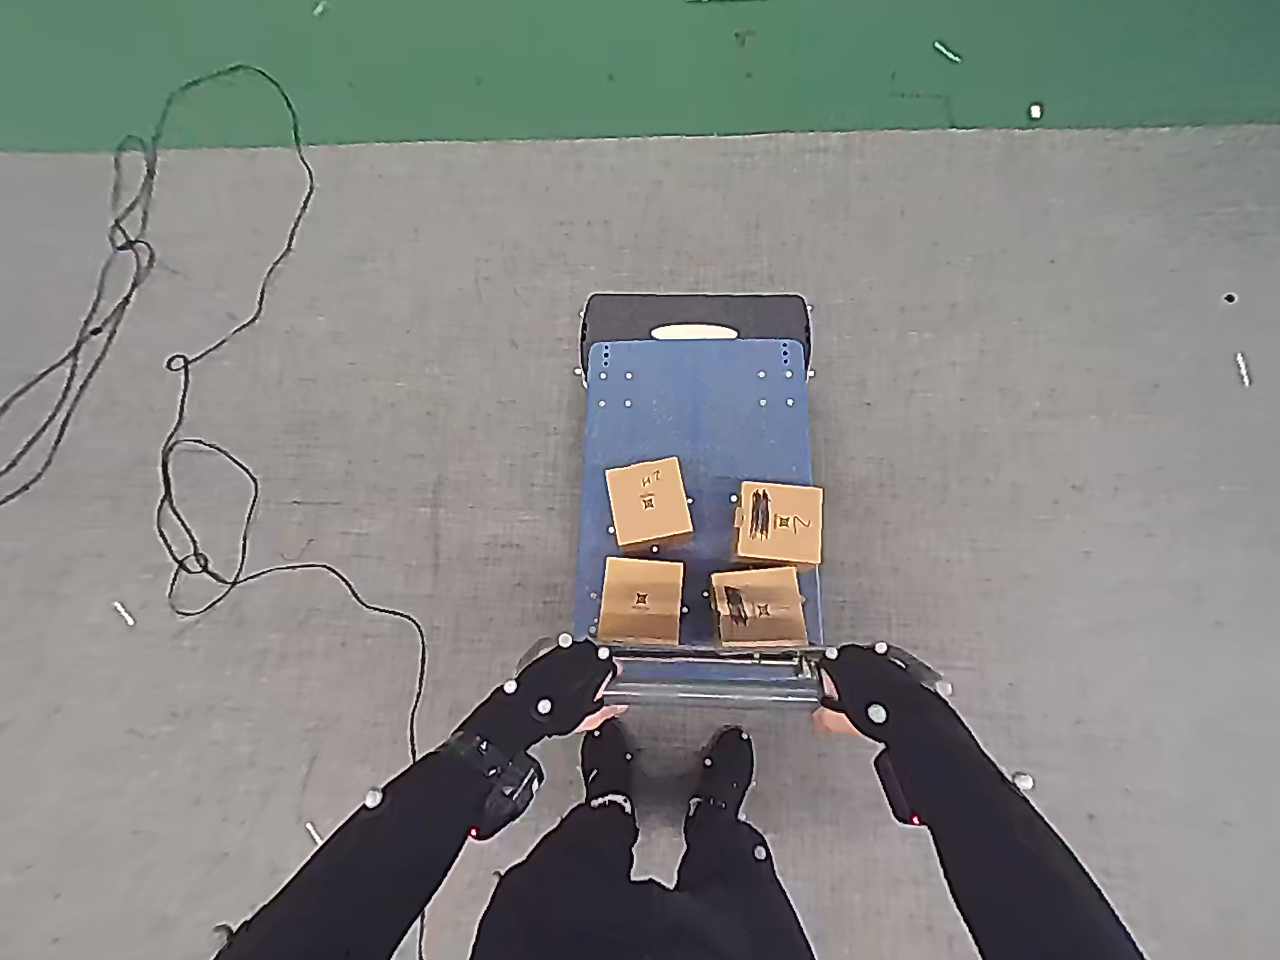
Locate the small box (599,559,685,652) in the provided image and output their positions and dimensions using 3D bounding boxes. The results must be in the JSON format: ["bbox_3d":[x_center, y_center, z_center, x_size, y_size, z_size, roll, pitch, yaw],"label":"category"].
[{"bbox_3d":[0.007,0.280,1.195,0.168,0.176,0.179,5,74,4],"label":"small box"}]

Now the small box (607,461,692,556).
[{"bbox_3d":[0.023,0.074,1.252,0.168,0.176,0.179,-11,73,-1],"label":"small box"}]
